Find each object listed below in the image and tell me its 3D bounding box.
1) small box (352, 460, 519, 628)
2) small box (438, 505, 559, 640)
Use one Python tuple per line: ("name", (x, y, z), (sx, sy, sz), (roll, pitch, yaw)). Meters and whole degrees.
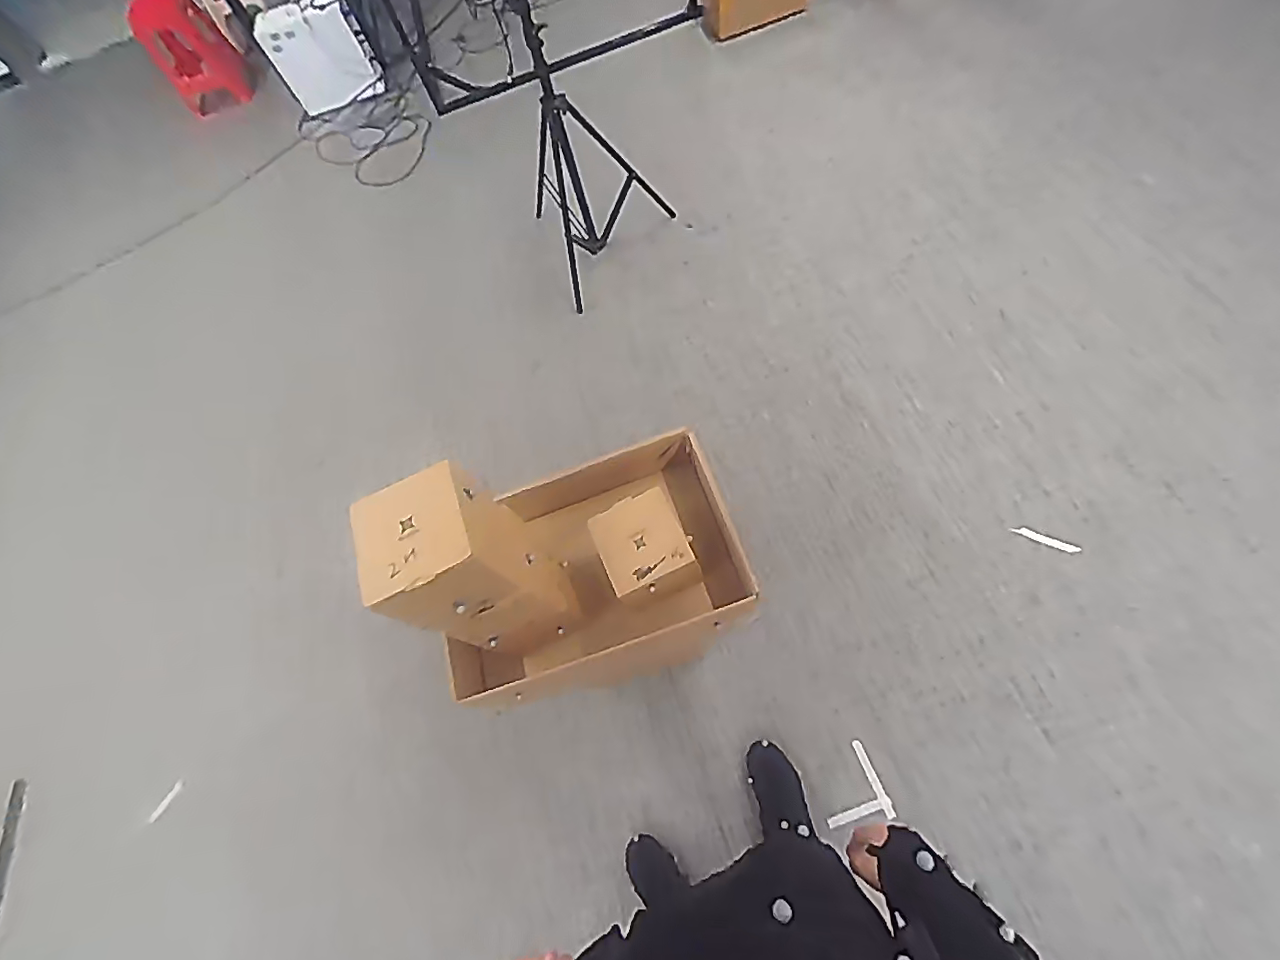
("small box", (-0.310, 0.105, 0.837), (0.168, 0.176, 0.179), (-25, 61, 0))
("small box", (-0.264, 0.177, 0.979), (0.168, 0.176, 0.179), (-23, 61, 1))
